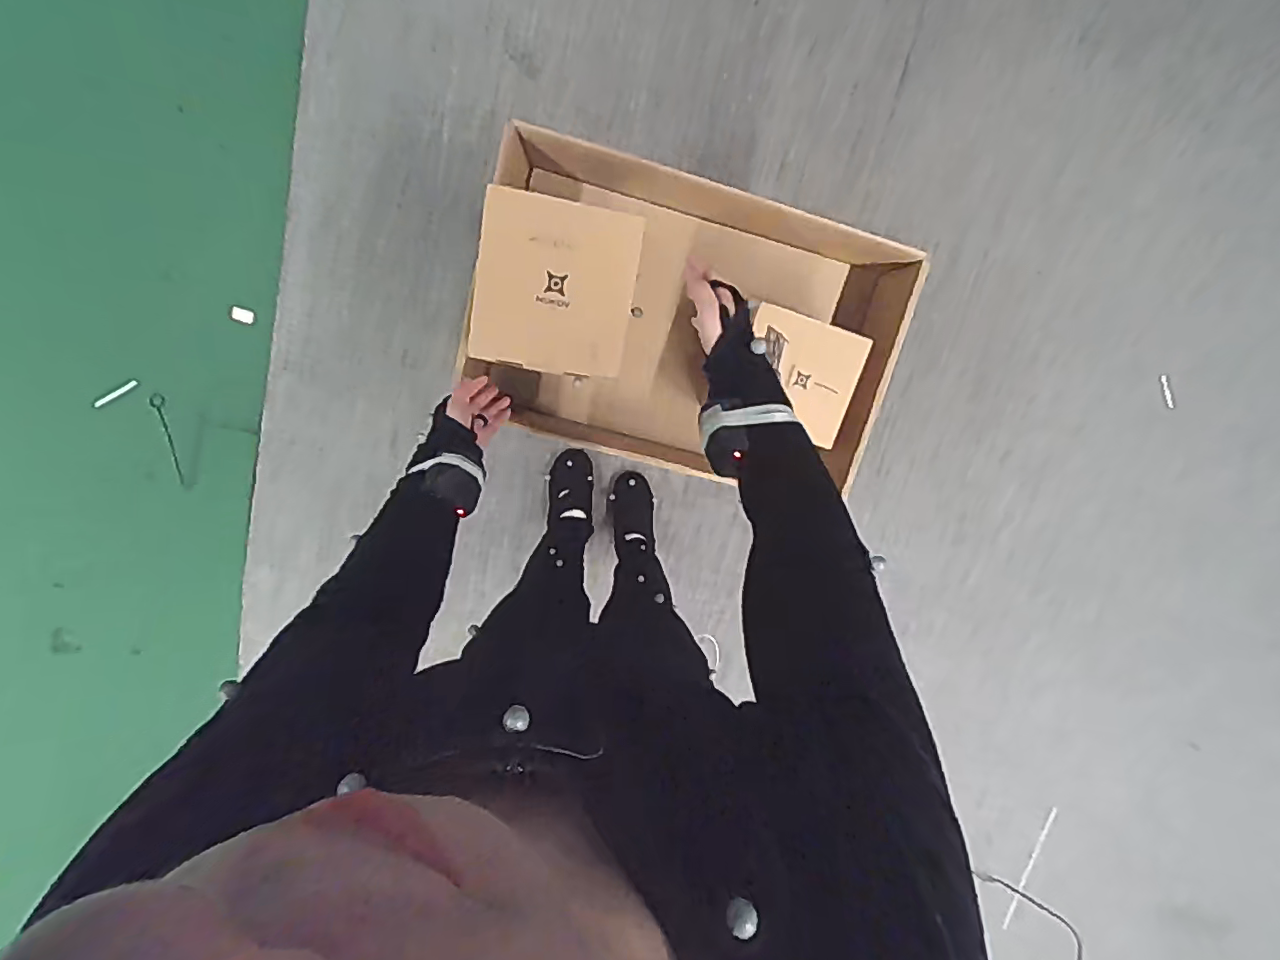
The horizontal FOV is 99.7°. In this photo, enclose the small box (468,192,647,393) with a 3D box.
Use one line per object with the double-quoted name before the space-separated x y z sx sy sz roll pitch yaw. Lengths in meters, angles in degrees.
"small box" -0.091 -0.209 0.644 0.168 0.176 0.179 10 101 -5
